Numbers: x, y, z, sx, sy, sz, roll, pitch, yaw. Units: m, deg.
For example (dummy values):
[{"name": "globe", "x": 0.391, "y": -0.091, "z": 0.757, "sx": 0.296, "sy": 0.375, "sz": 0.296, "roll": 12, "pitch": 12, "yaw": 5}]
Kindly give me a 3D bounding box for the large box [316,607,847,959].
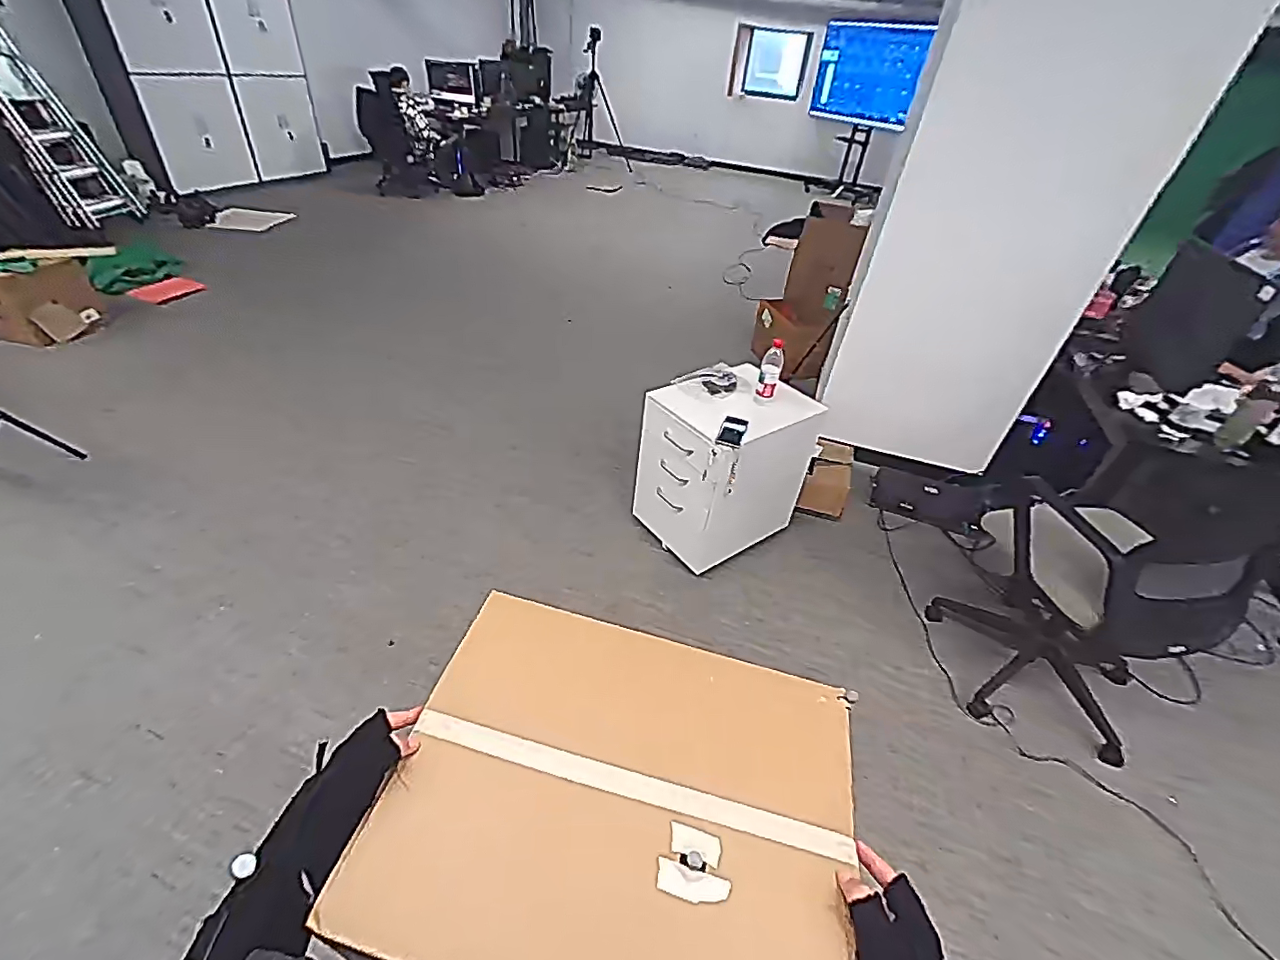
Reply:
[{"name": "large box", "x": -0.035, "y": 0.395, "z": 0.584, "sx": 0.408, "sy": 0.320, "sz": 0.320, "roll": 15, "pitch": 42, "yaw": 5}]
